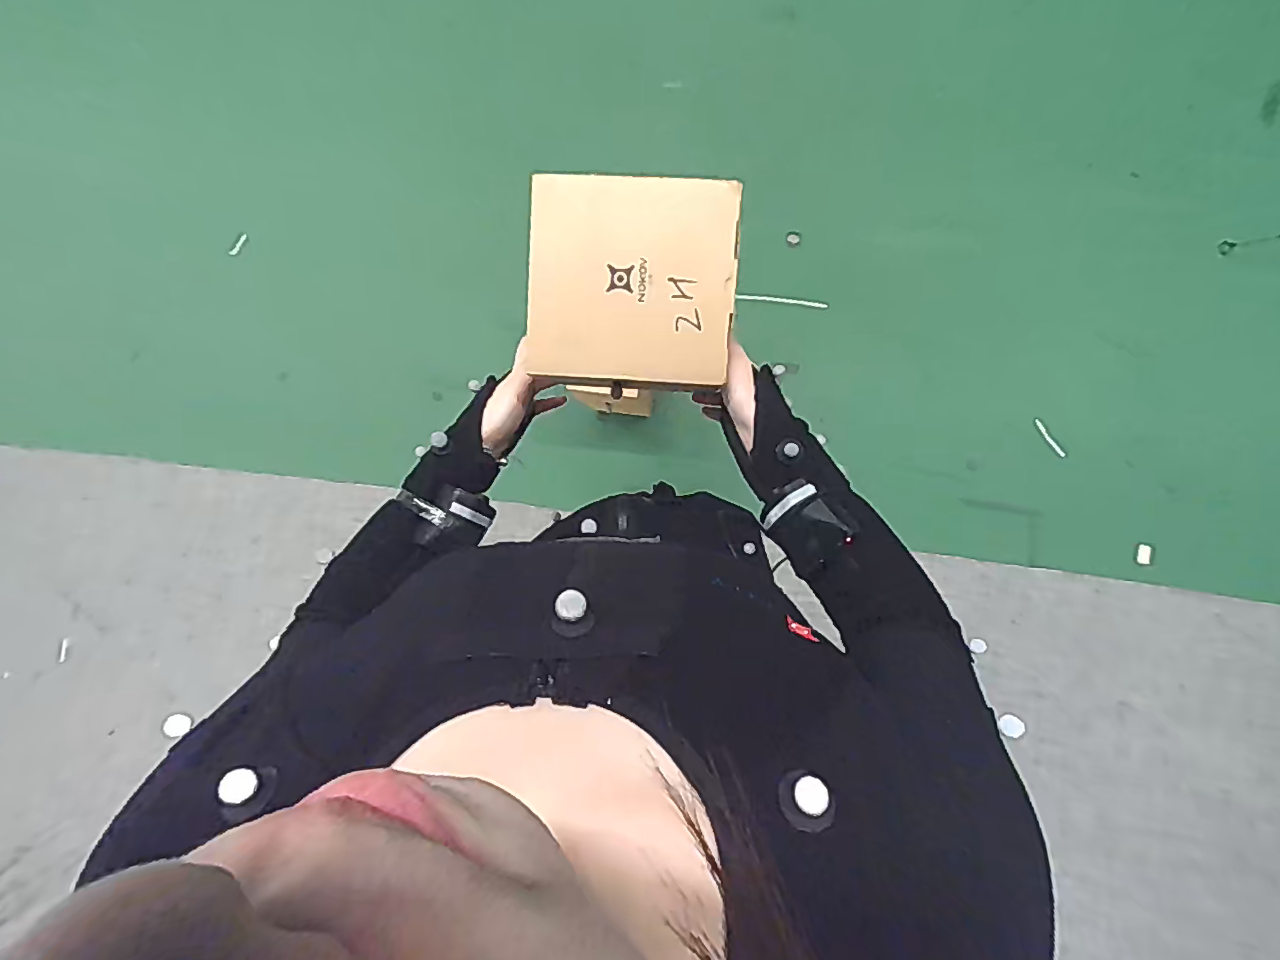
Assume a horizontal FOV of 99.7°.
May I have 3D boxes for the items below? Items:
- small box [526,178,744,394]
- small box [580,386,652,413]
[{"bbox_3d":[-0.002,-0.173,0.530,0.179,0.176,0.168,4,99,3],"label":"small box"},{"bbox_3d":[-0.052,-0.281,1.448,0.168,0.176,0.179,8,89,6],"label":"small box"}]
